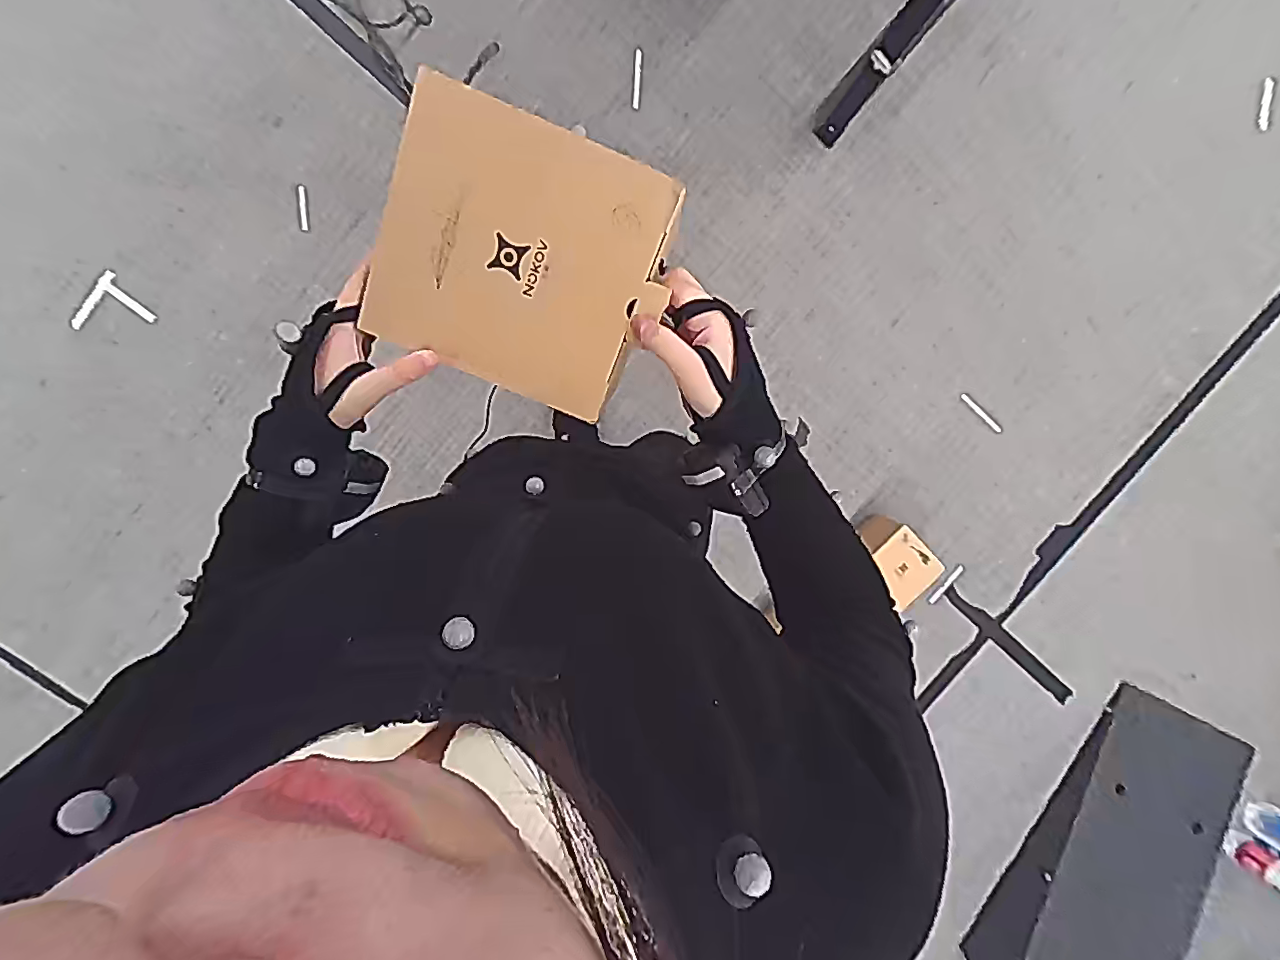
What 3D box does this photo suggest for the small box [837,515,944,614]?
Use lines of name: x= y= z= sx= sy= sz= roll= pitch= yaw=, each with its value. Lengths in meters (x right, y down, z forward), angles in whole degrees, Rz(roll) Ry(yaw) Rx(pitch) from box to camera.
small box: x=0.656 y=0.218 z=1.448 sx=0.179 sy=0.176 sz=0.168 roll=-44 pitch=97 yaw=4
